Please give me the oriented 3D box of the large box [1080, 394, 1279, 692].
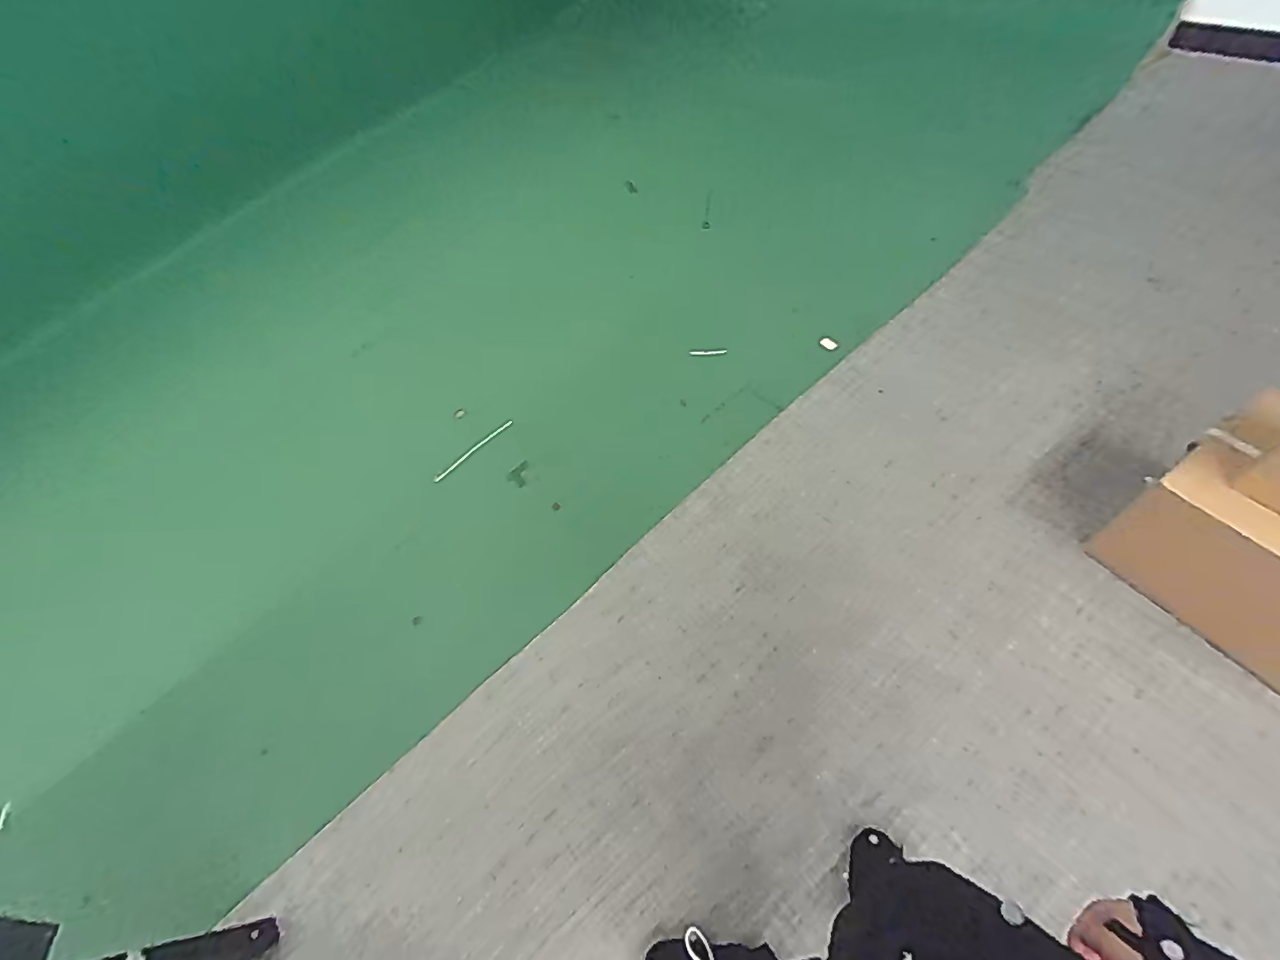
[{"bbox_3d":[1.188,0.121,1.018,0.320,0.320,0.408,-37,59,-8],"label":"large box"}]
